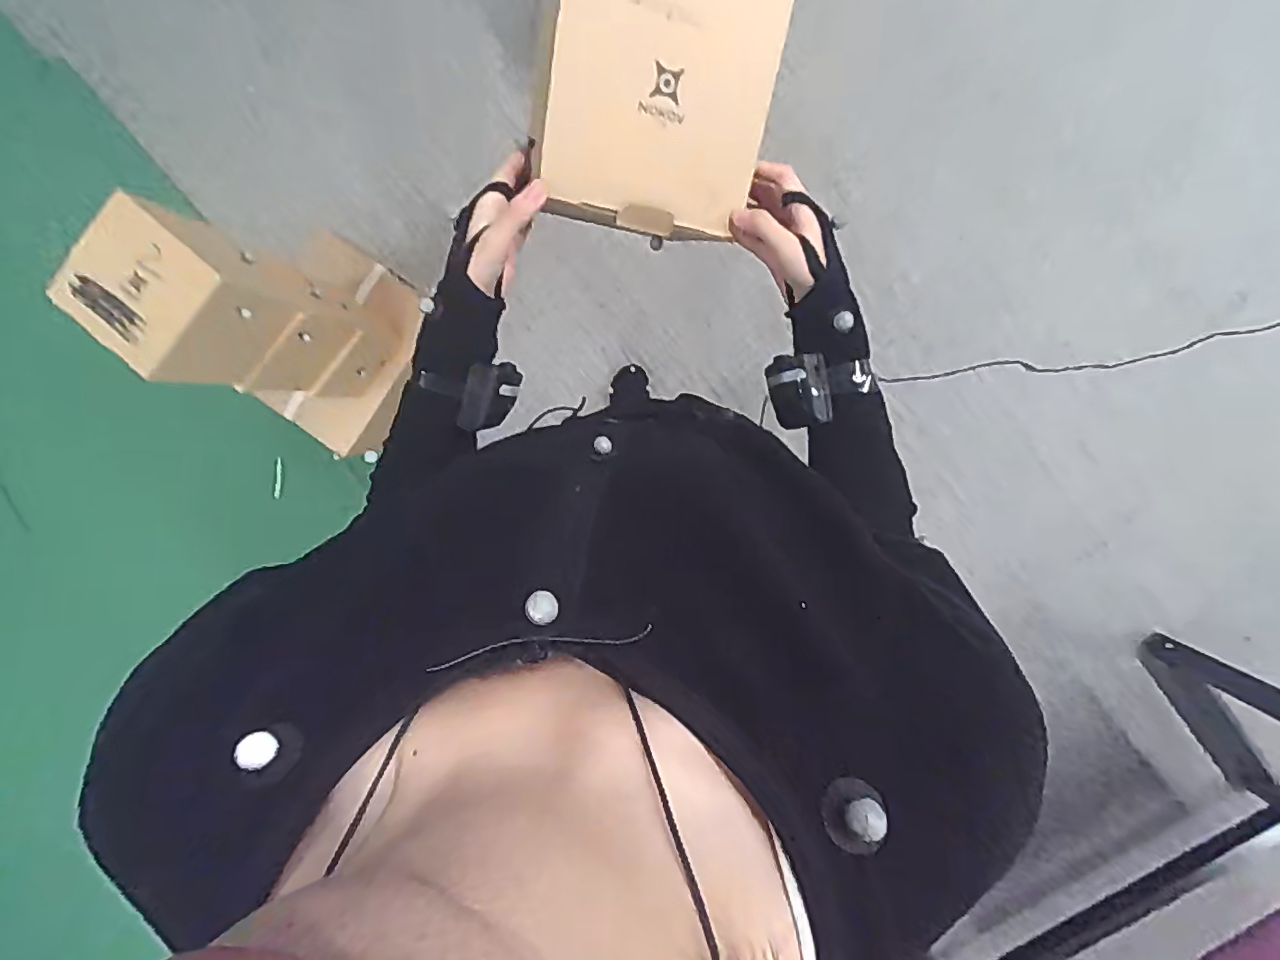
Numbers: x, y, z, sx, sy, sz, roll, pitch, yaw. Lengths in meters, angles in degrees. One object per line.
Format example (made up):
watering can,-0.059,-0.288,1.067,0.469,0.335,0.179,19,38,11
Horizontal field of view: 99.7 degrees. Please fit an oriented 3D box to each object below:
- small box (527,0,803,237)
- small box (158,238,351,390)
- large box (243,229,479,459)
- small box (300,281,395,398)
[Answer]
small box,0.002,-0.315,0.451,0.168,0.176,0.179,5,112,-20
small box,-0.643,-0.268,0.926,0.168,0.176,0.179,43,96,-5
large box,-0.668,-0.317,1.332,0.320,0.320,0.408,36,99,-2
small box,-0.635,-0.283,1.088,0.179,0.176,0.168,42,97,-4
